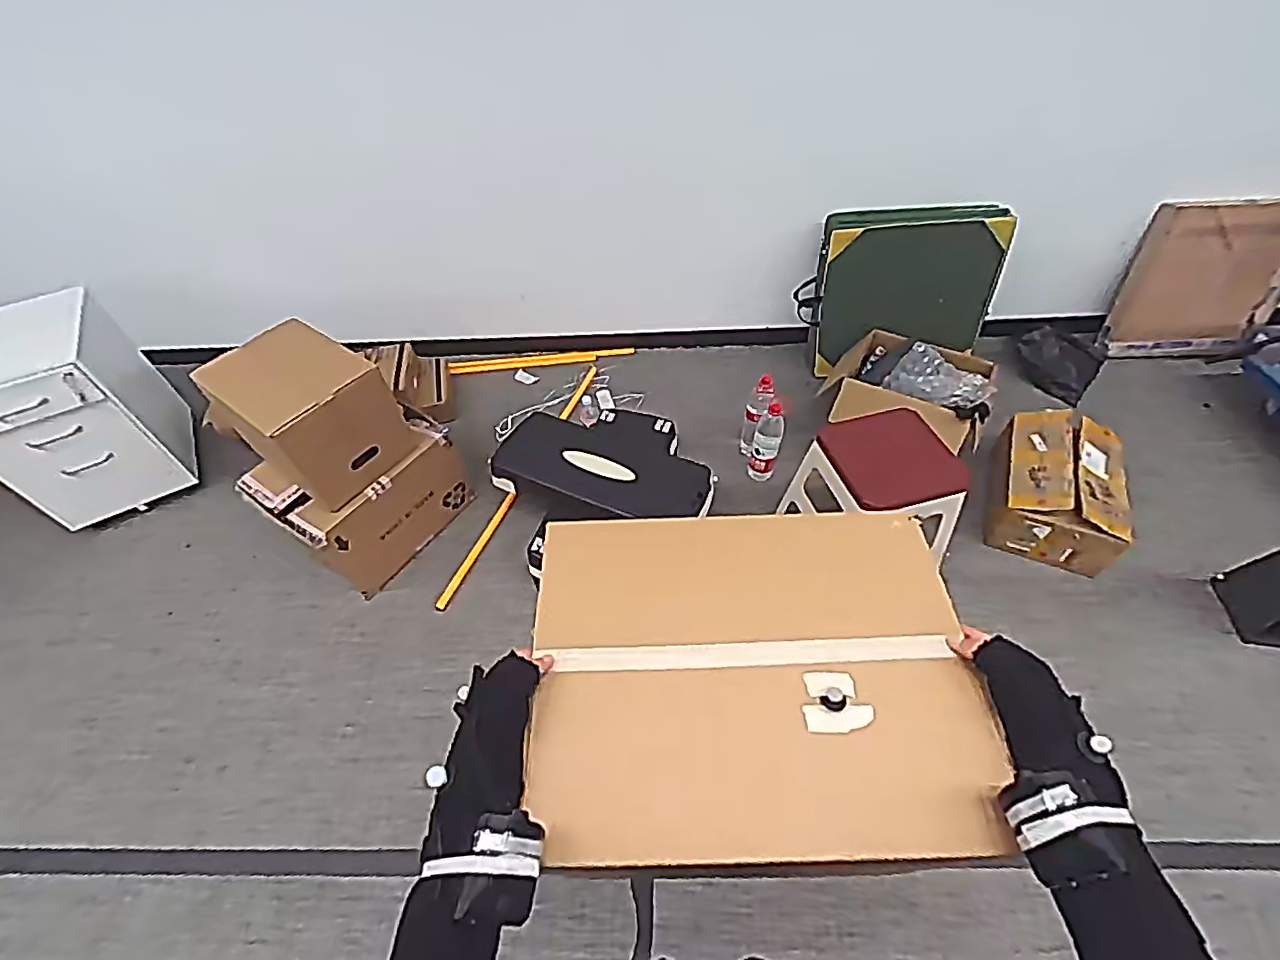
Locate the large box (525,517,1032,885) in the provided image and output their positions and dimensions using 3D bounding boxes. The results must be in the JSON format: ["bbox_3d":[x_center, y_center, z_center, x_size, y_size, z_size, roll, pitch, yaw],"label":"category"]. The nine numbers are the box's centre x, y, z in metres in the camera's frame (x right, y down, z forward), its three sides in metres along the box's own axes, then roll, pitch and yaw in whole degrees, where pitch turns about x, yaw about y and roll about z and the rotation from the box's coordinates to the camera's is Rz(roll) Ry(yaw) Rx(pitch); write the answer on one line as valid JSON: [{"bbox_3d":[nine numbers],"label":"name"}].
[{"bbox_3d":[0.106,0.262,0.624,0.408,0.320,0.320,-2,52,1],"label":"large box"}]
